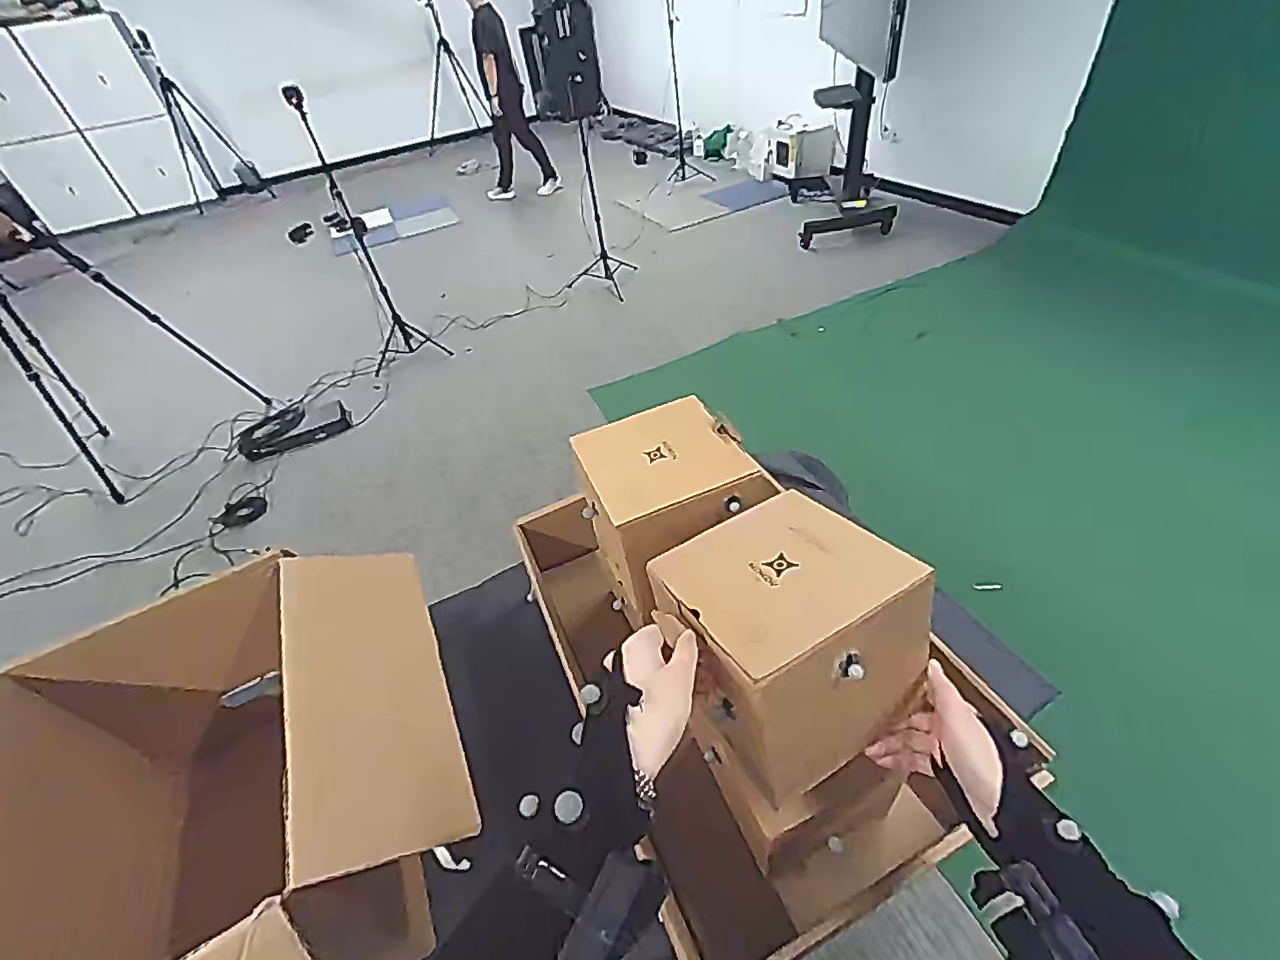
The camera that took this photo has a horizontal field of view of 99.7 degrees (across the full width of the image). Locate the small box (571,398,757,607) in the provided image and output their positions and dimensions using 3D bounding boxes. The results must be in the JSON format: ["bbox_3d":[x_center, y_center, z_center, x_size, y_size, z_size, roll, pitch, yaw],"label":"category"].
[{"bbox_3d":[0.032,0.030,0.683,0.179,0.176,0.168,-21,46,-12],"label":"small box"}]

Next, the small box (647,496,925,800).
[{"bbox_3d":[0.132,0.147,0.500,0.179,0.176,0.168,-24,33,-17],"label":"small box"}]
